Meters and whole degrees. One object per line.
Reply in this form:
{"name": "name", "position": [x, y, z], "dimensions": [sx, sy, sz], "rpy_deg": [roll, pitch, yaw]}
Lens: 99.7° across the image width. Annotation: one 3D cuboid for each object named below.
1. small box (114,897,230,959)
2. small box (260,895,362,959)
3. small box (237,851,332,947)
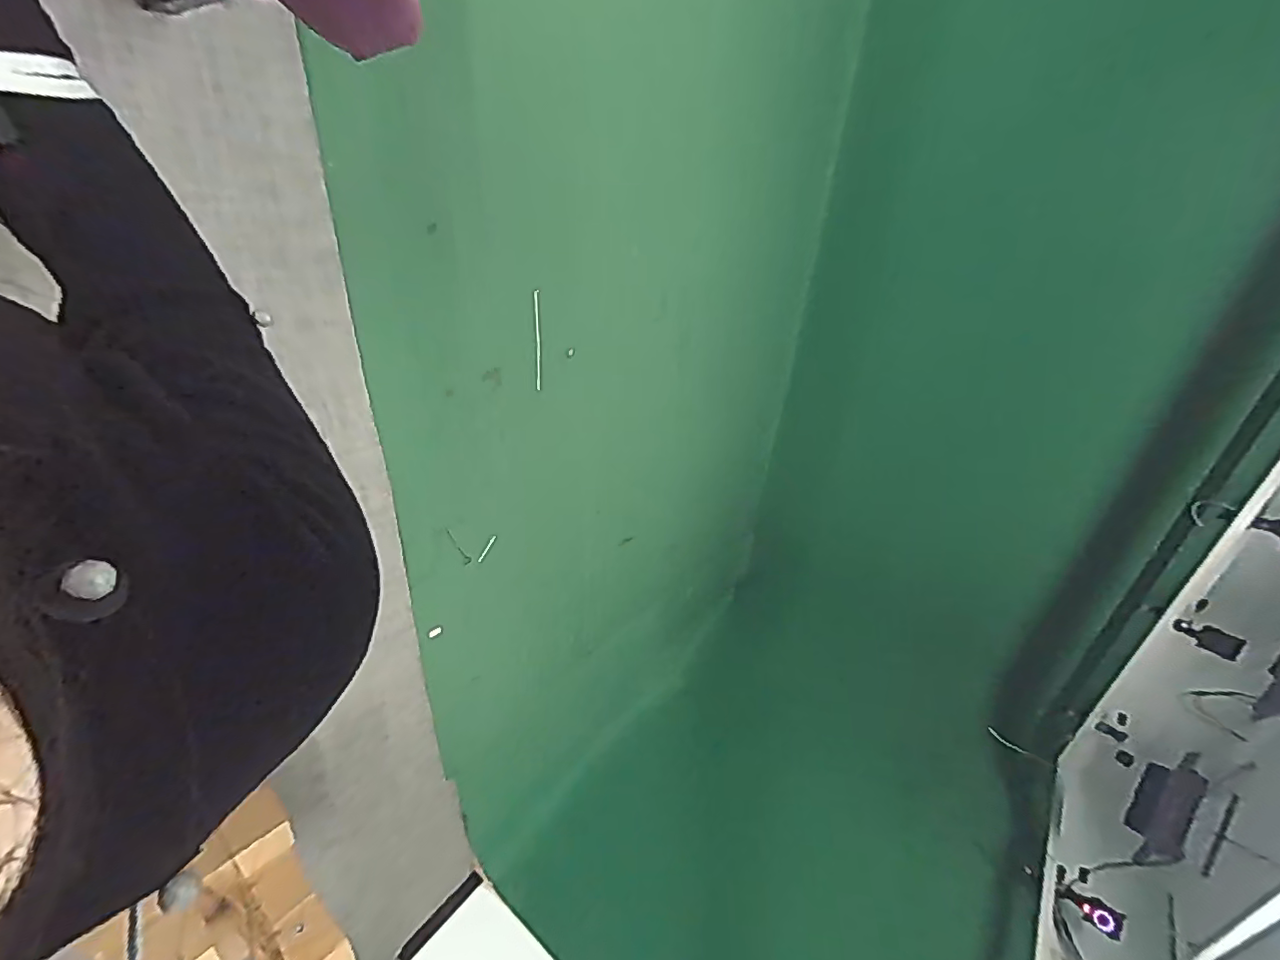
{"name": "small box", "position": [-1.095, 1.149, 1.279], "dimensions": [0.168, 0.176, 0.179], "rpy_deg": [-25, 132, -47]}
{"name": "small box", "position": [-0.849, 1.241, 1.404], "dimensions": [0.168, 0.176, 0.179], "rpy_deg": [-27, 131, -46]}
{"name": "small box", "position": [-0.973, 1.176, 1.489], "dimensions": [0.168, 0.176, 0.179], "rpy_deg": [-27, 134, -46]}
